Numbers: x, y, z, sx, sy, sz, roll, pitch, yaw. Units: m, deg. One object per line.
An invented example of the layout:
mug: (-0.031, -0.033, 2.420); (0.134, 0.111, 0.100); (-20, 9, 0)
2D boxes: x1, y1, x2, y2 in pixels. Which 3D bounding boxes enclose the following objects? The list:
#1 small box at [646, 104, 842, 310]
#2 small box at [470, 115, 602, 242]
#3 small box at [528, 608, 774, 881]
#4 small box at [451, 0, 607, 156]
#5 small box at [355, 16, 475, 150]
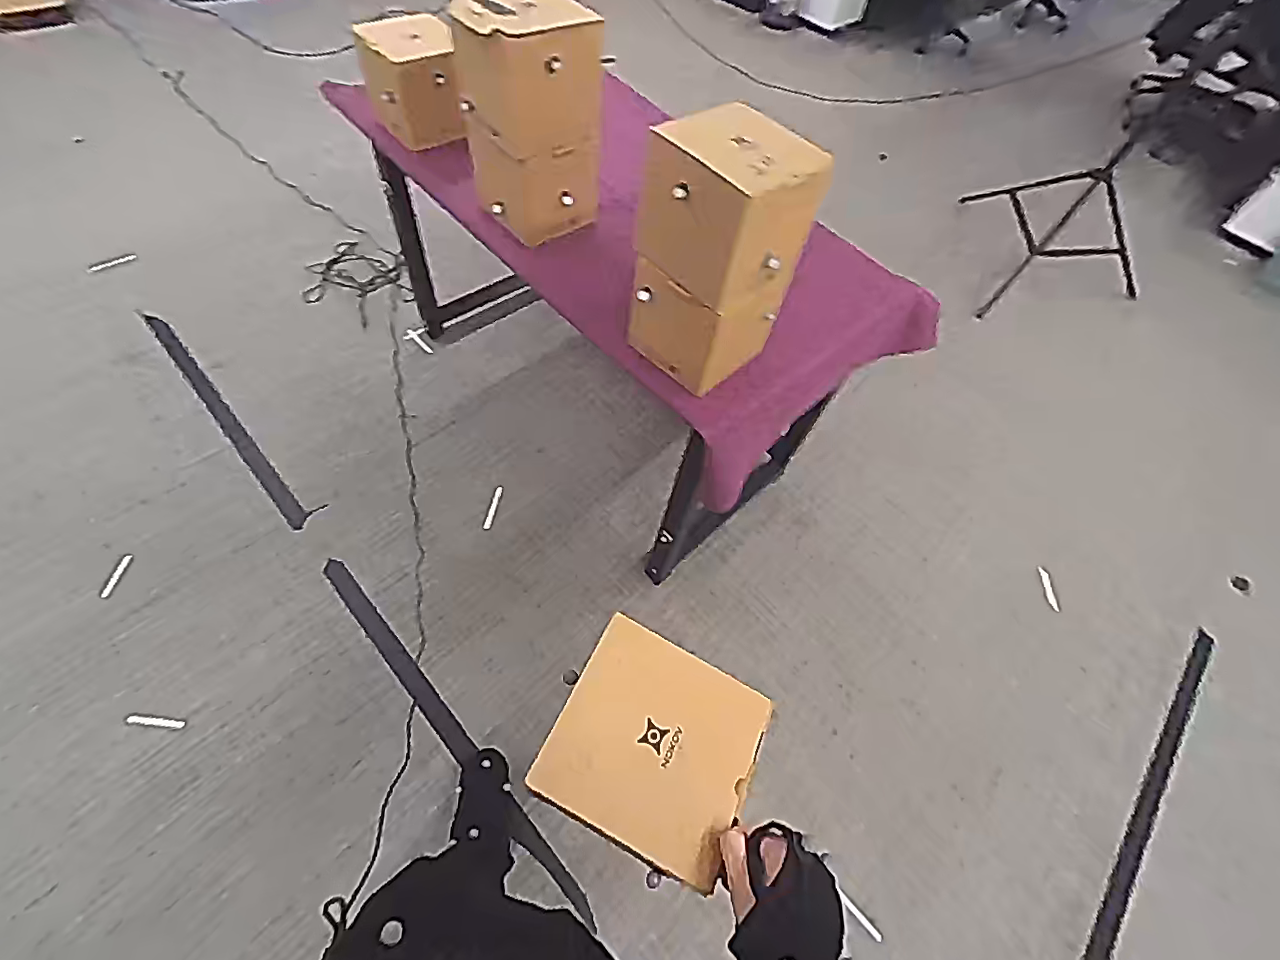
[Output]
small box: (0.126, -0.366, 0.732); (0.168, 0.176, 0.179); (-34, 68, -25)
small box: (-0.189, -0.574, 1.013); (0.168, 0.176, 0.179); (-36, 70, -25)
small box: (0.001, 0.260, 0.541); (0.179, 0.176, 0.168); (28, 58, 3)
small box: (-0.172, -0.655, 0.869); (0.179, 0.176, 0.168); (-35, 69, -26)
small box: (-0.451, -0.825, 1.131); (0.179, 0.176, 0.168); (-36, 71, -27)
